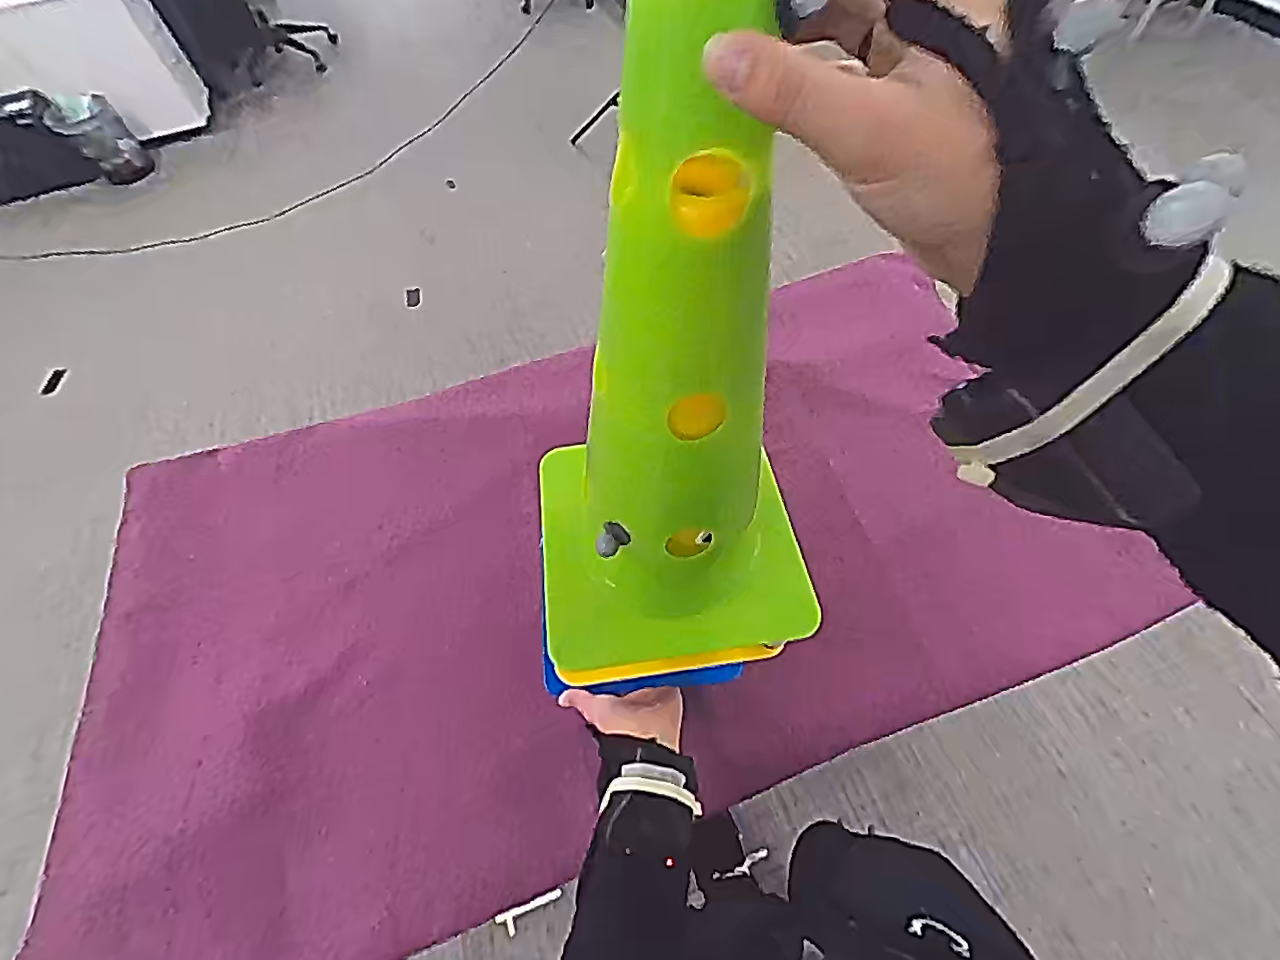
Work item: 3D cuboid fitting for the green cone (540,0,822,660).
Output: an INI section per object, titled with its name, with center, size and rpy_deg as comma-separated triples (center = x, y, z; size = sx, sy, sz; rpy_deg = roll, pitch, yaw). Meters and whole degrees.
[green cone]
center = 0.020, -0.065, 0.289
size = 0.200, 0.368, 0.202
rpy_deg = -8, 56, -4
